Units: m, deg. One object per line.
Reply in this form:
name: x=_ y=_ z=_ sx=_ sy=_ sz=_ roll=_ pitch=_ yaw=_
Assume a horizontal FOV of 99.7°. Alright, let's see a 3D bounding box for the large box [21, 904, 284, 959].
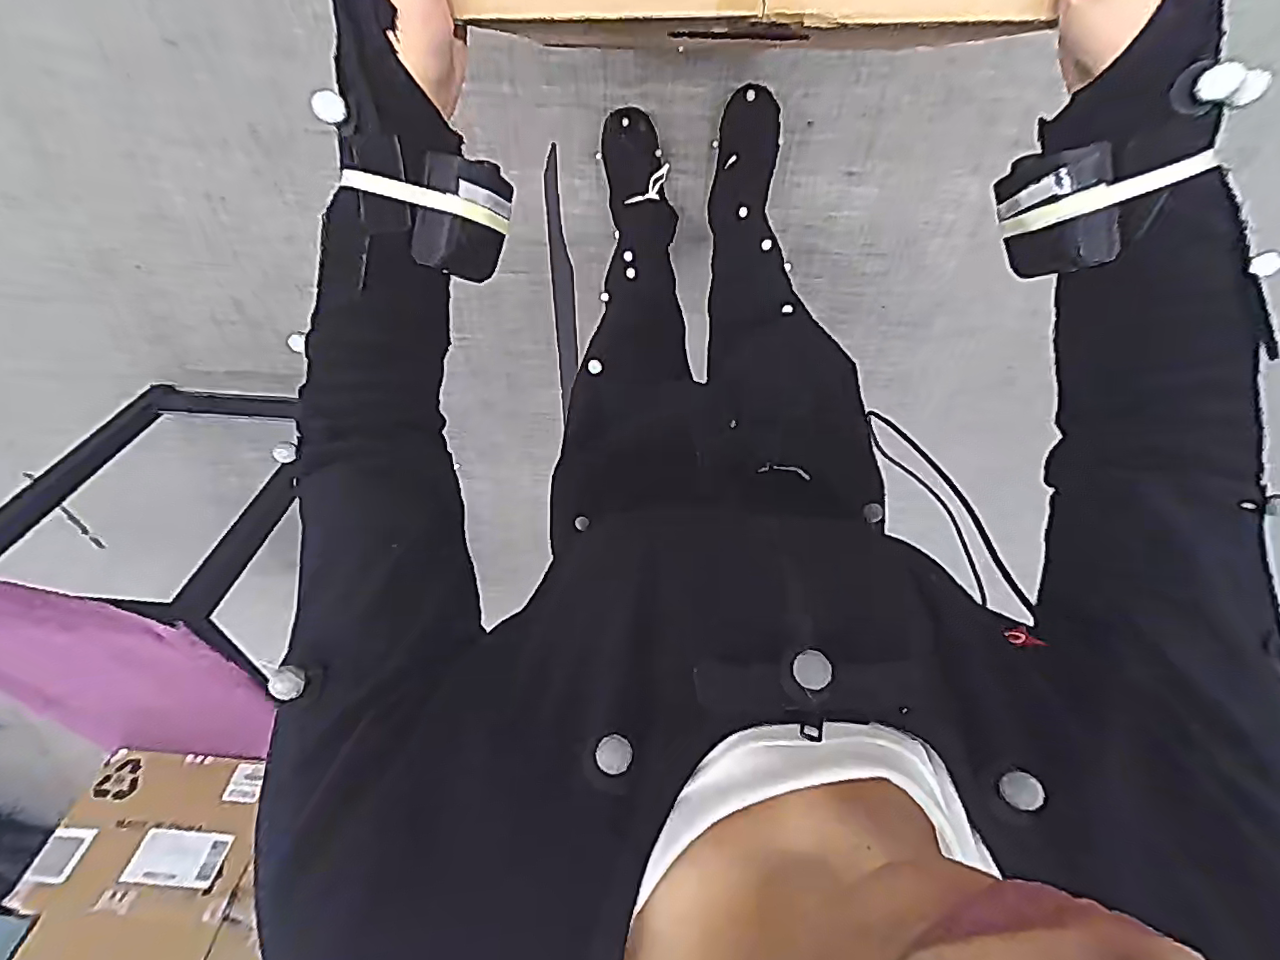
large box: x=-1.130 y=1.176 z=1.209 sx=0.408 sy=0.320 sz=0.320 roll=3 pitch=135 yaw=2
